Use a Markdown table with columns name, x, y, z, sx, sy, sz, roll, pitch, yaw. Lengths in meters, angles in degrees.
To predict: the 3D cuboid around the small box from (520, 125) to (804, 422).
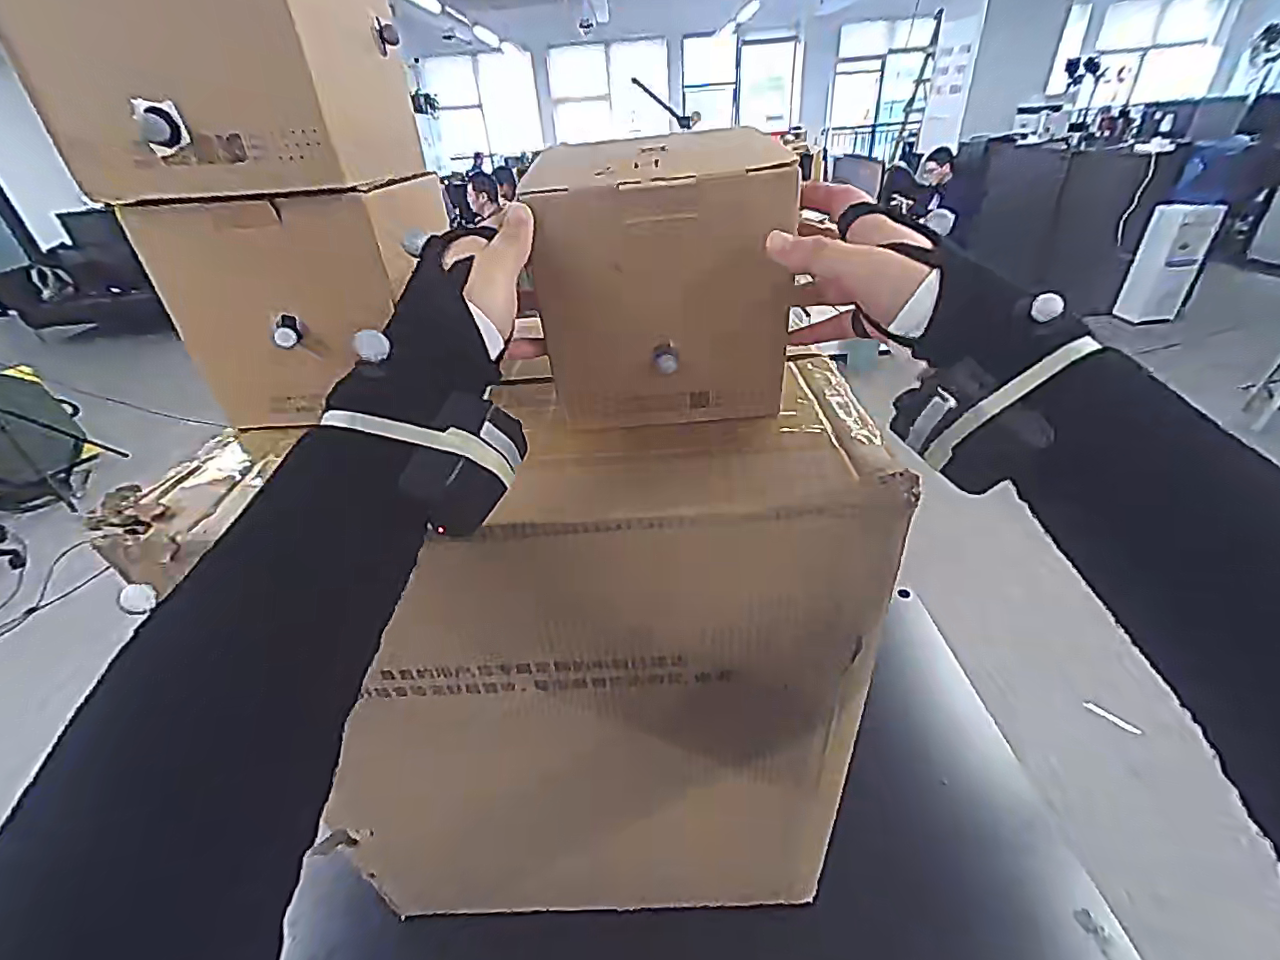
| name | x | y | z | sx | sy | sz | roll | pitch | yaw |
| --- | --- | --- | --- | --- | --- | --- | --- | --- | --- |
| small box | 0.018 | -0.162 | 0.420 | 0.168 | 0.176 | 0.179 | -5 | 38 | 3 |

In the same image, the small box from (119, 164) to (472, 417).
| name | x | y | z | sx | sy | sz | roll | pitch | yaw |
| --- | --- | --- | --- | --- | --- | --- | --- | --- | --- |
| small box | -0.256 | -0.161 | 0.462 | 0.168 | 0.176 | 0.179 | -3 | 34 | 0 |

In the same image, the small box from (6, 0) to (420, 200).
| name | x | y | z | sx | sy | sz | roll | pitch | yaw |
| --- | --- | --- | --- | --- | --- | --- | --- | --- | --- |
| small box | -0.266 | -0.290 | 0.362 | 0.168 | 0.176 | 0.179 | -5 | 33 | 0 |
